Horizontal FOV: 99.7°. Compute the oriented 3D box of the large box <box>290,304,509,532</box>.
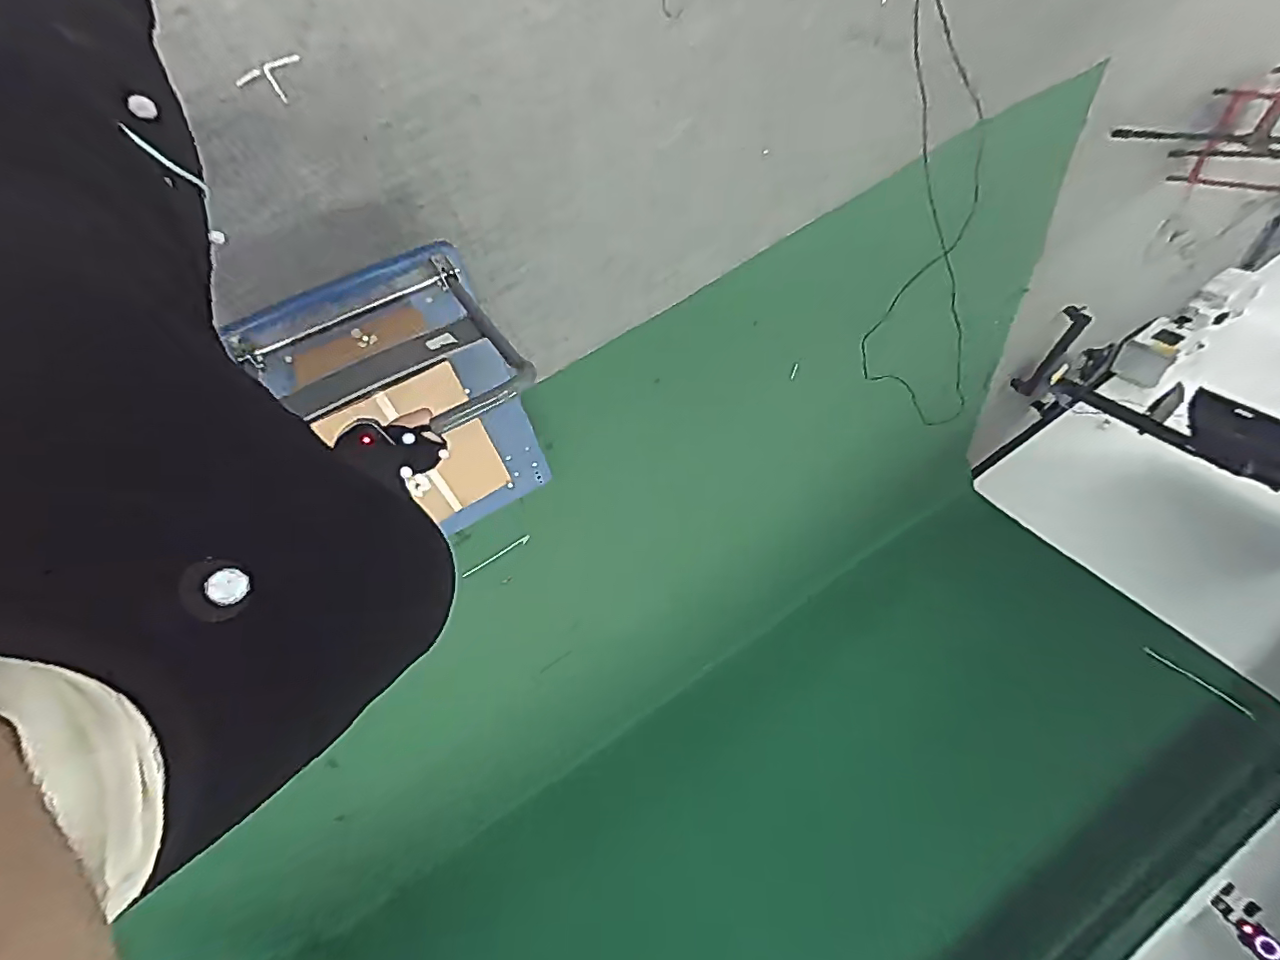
[{"bbox_3d":[-0.589,-0.154,1.356,0.320,0.320,0.408,-29,140,-13],"label":"large box"}]
